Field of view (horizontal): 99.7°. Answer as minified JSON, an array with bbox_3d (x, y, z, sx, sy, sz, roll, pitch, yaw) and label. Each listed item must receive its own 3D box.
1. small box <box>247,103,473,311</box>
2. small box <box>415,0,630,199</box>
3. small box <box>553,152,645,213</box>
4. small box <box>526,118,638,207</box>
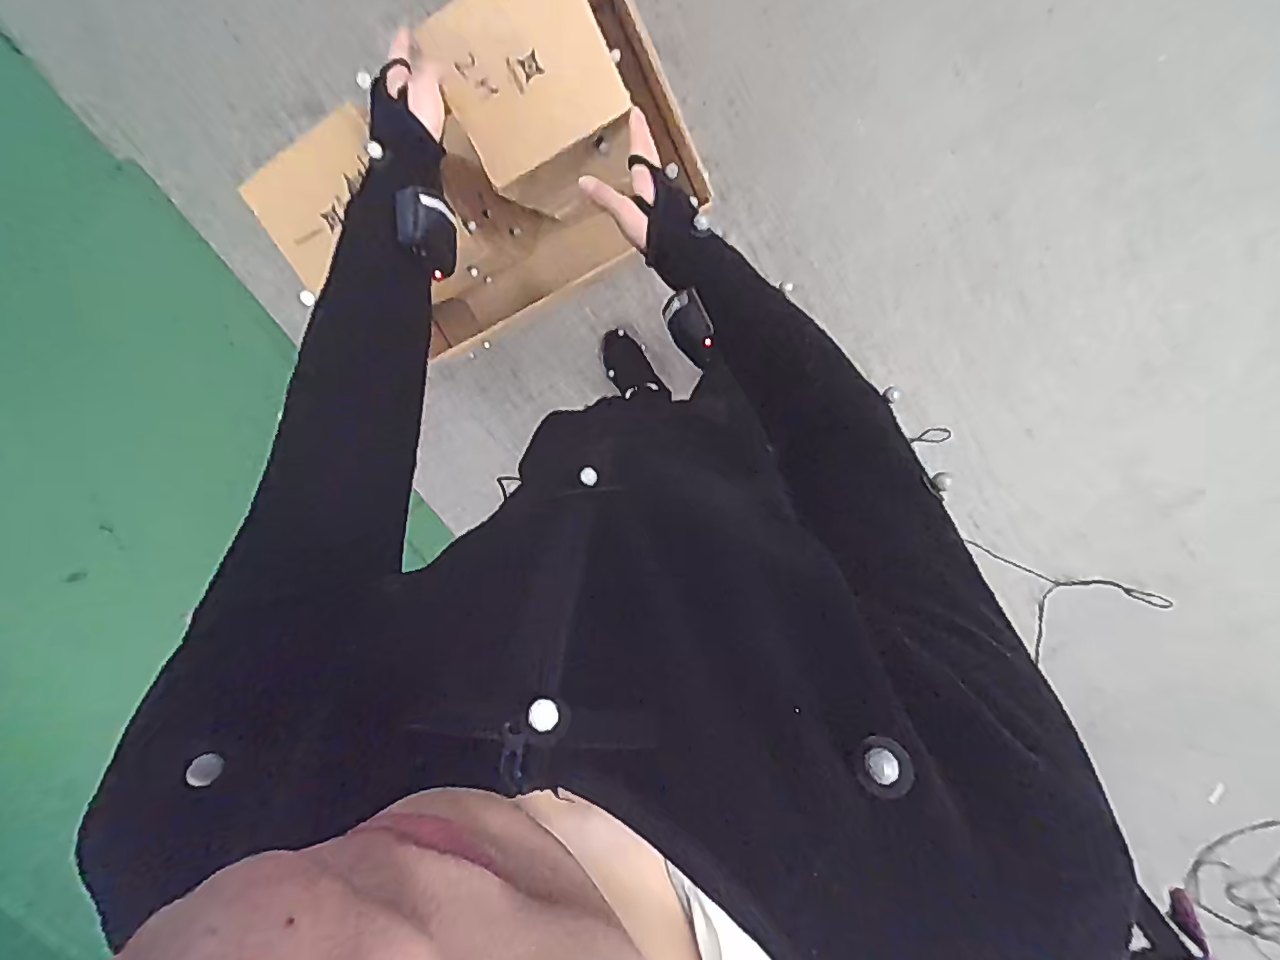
[{"bbox_3d":[-0.342,-0.343,0.708,0.179,0.176,0.168,-26,107,14],"label":"small box"},{"bbox_3d":[-0.120,-0.461,0.641,0.179,0.176,0.168,-24,107,12],"label":"small box"},{"bbox_3d":[-0.097,-0.585,0.945,0.168,0.176,0.179,-21,108,11],"label":"small box"},{"bbox_3d":[-0.110,-0.526,0.795,0.179,0.176,0.168,-21,108,12],"label":"small box"}]
